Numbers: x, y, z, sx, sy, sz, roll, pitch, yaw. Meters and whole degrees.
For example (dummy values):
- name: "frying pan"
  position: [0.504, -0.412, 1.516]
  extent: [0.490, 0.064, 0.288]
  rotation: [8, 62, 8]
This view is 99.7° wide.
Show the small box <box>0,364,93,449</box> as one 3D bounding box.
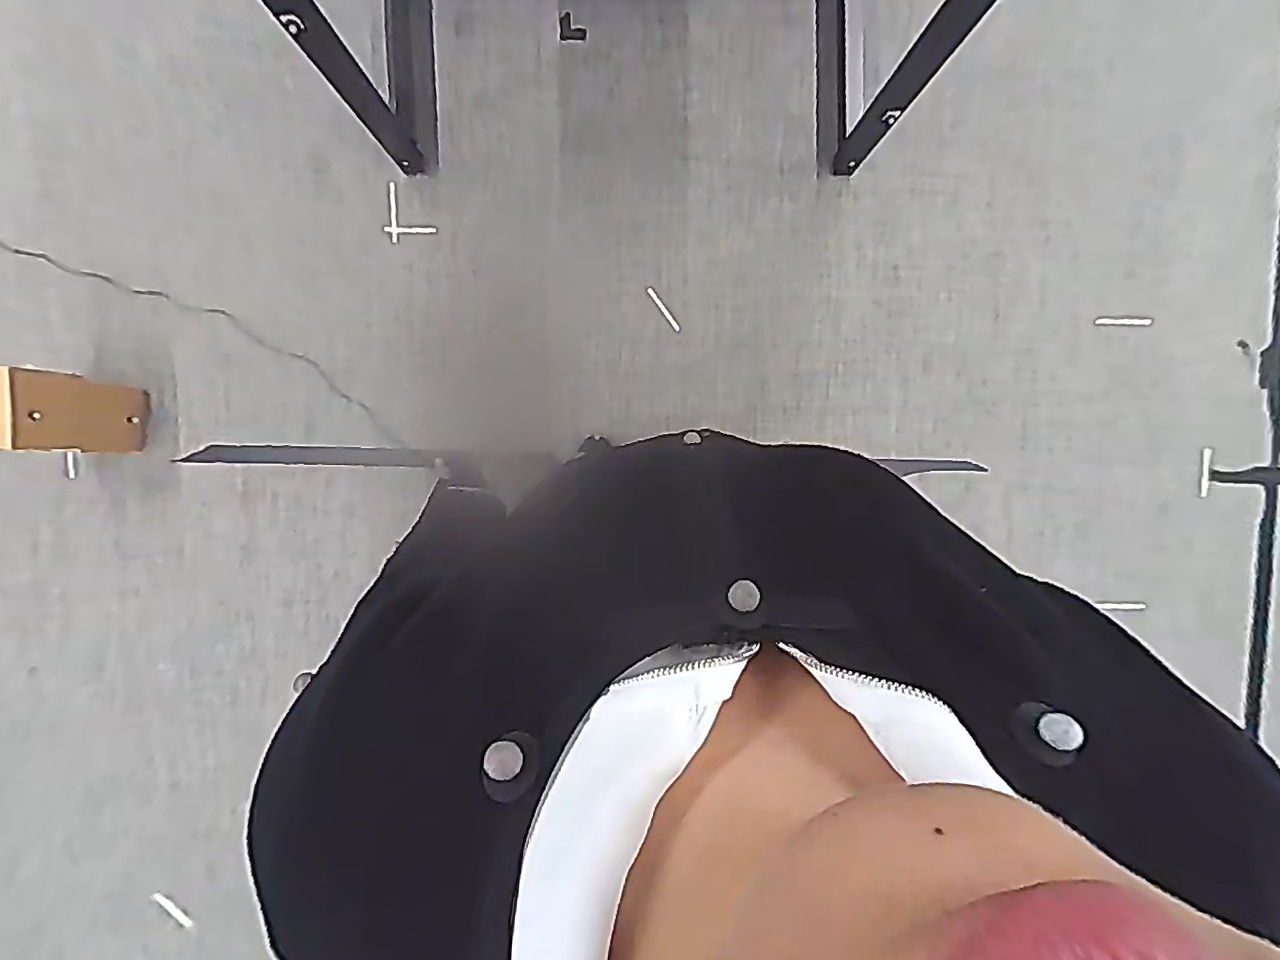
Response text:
- name: "small box"
  position: [-1.378, -0.161, 1.203]
  extent: [0.168, 0.176, 0.179]
  rotation: [1, 94, -2]

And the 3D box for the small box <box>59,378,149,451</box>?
- name: "small box"
  position: [-1.399, -0.169, 1.367]
  extent: [0.168, 0.176, 0.179]
  rotation: [7, 93, -2]
